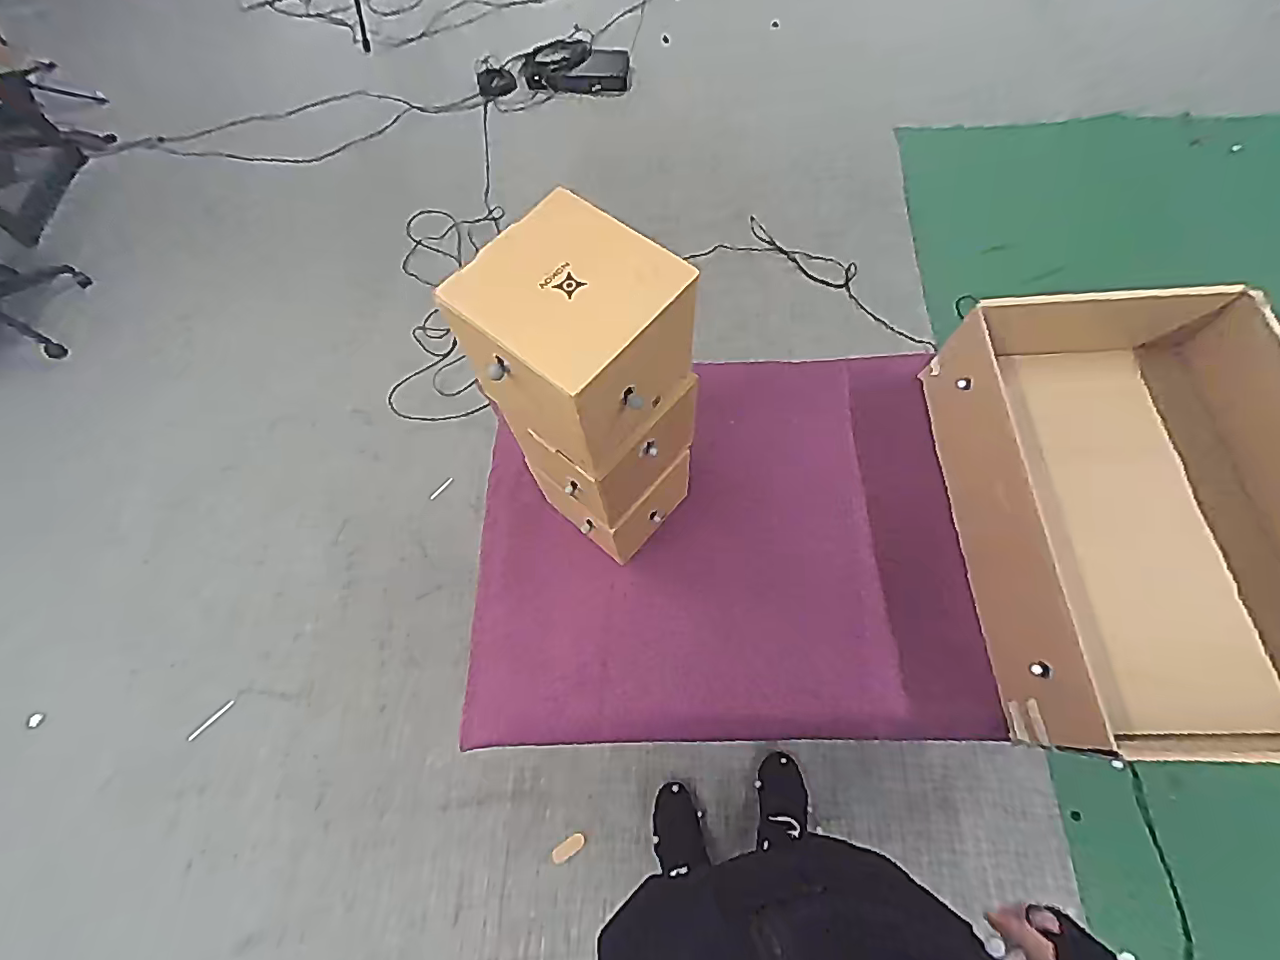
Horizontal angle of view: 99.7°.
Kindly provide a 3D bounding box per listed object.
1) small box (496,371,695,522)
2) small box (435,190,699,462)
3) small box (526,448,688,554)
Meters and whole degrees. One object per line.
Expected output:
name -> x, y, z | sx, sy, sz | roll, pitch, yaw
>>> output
small box -> -0.047, -0.073, 0.692 | 0.168, 0.176, 0.179 | 39, 74, 17
small box -> -0.060, -0.140, 0.545 | 0.179, 0.176, 0.168 | 37, 74, 17
small box -> -0.043, -0.004, 0.839 | 0.179, 0.176, 0.168 | 39, 73, 18
